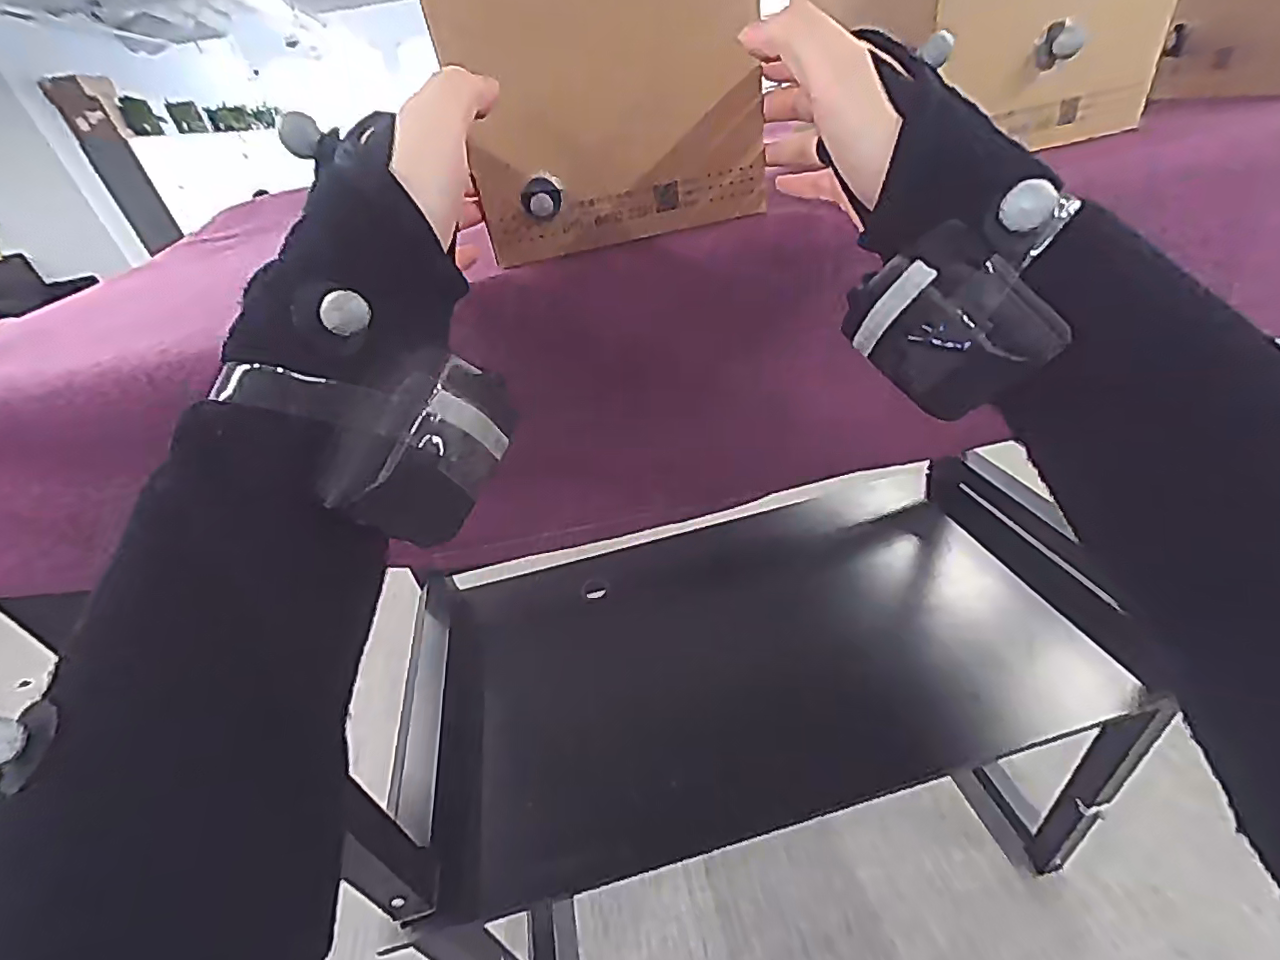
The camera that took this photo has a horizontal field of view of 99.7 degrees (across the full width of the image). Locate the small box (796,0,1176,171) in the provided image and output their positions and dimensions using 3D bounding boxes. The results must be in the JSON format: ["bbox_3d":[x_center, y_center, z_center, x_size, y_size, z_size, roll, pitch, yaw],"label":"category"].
[{"bbox_3d":[0.217,-0.320,0.368,0.168,0.176,0.179,-16,35,-6],"label":"small box"}]

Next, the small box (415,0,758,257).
[{"bbox_3d":[-0.034,-0.249,0.336,0.168,0.176,0.179,-14,34,-6],"label":"small box"}]
